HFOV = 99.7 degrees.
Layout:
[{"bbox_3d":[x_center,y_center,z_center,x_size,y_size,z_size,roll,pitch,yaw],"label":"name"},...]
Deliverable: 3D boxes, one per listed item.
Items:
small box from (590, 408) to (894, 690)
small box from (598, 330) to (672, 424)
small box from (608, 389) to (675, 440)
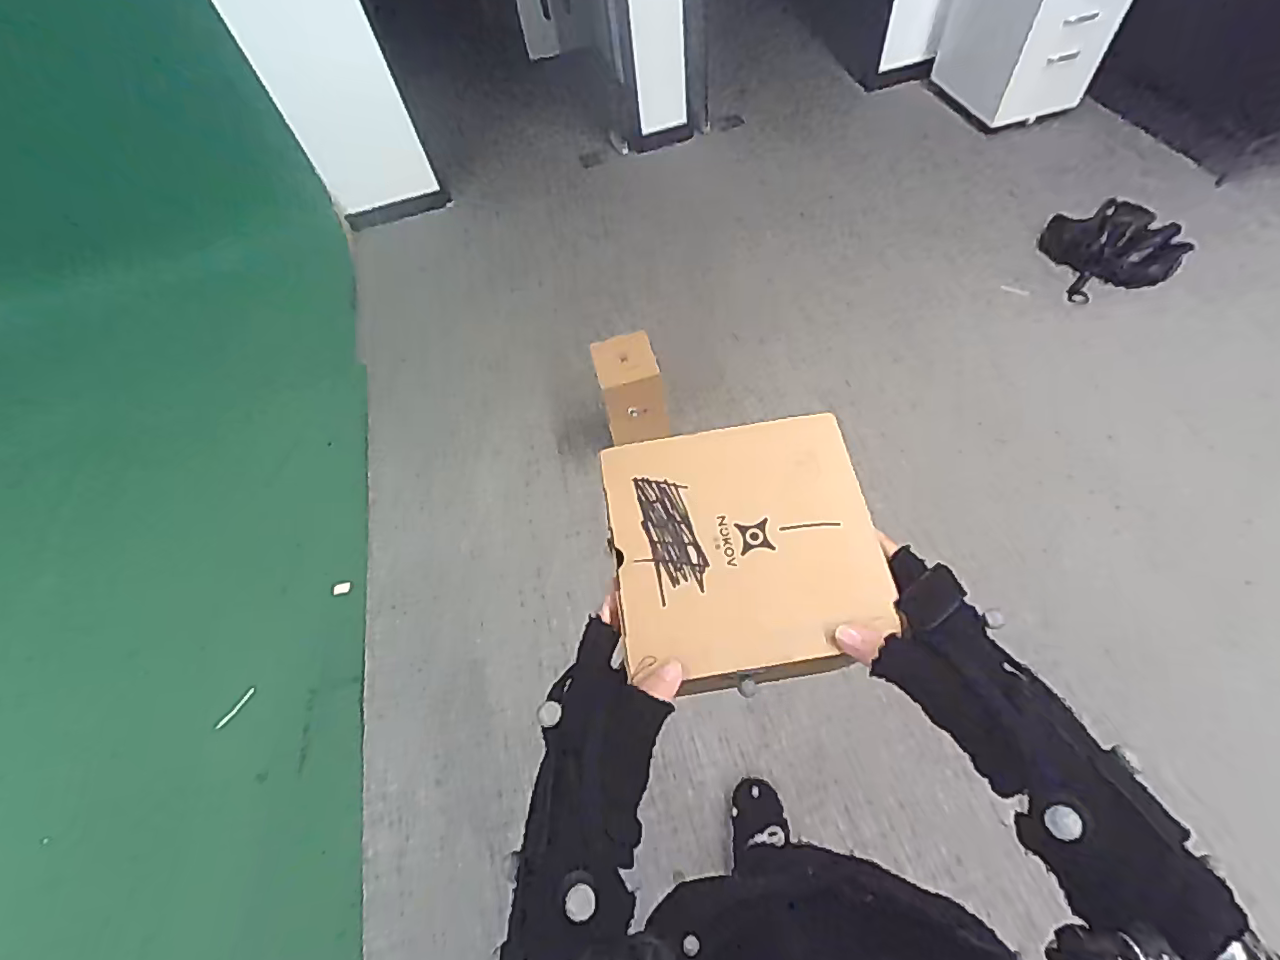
[{"bbox_3d":[0.066,0.067,0.432,0.179,0.176,0.168,-9,65,1],"label":"small box"},{"bbox_3d":[-0.012,-0.289,1.540,0.168,0.176,0.179,-16,59,1],"label":"small box"},{"bbox_3d":[0.008,-0.202,1.677,0.179,0.176,0.168,-14,58,0],"label":"small box"}]
